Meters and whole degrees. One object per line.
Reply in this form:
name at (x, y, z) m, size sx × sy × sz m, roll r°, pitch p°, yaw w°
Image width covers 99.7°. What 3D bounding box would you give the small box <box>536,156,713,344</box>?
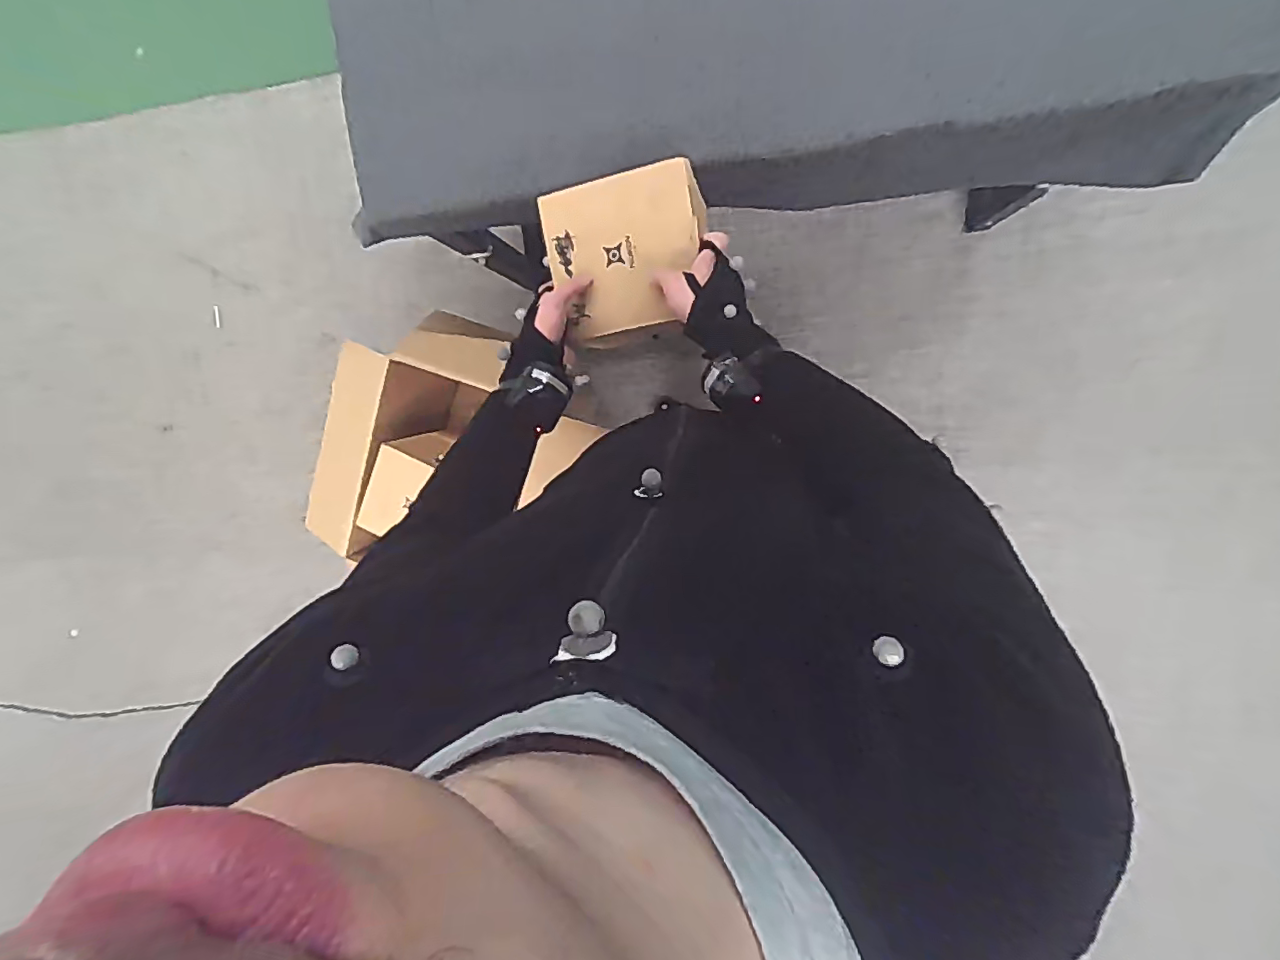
small box at (-0.006, -0.268, 0.674) m, size 0.179 × 0.176 × 0.168 m, roll -8°, pitch 99°, yaw 13°
